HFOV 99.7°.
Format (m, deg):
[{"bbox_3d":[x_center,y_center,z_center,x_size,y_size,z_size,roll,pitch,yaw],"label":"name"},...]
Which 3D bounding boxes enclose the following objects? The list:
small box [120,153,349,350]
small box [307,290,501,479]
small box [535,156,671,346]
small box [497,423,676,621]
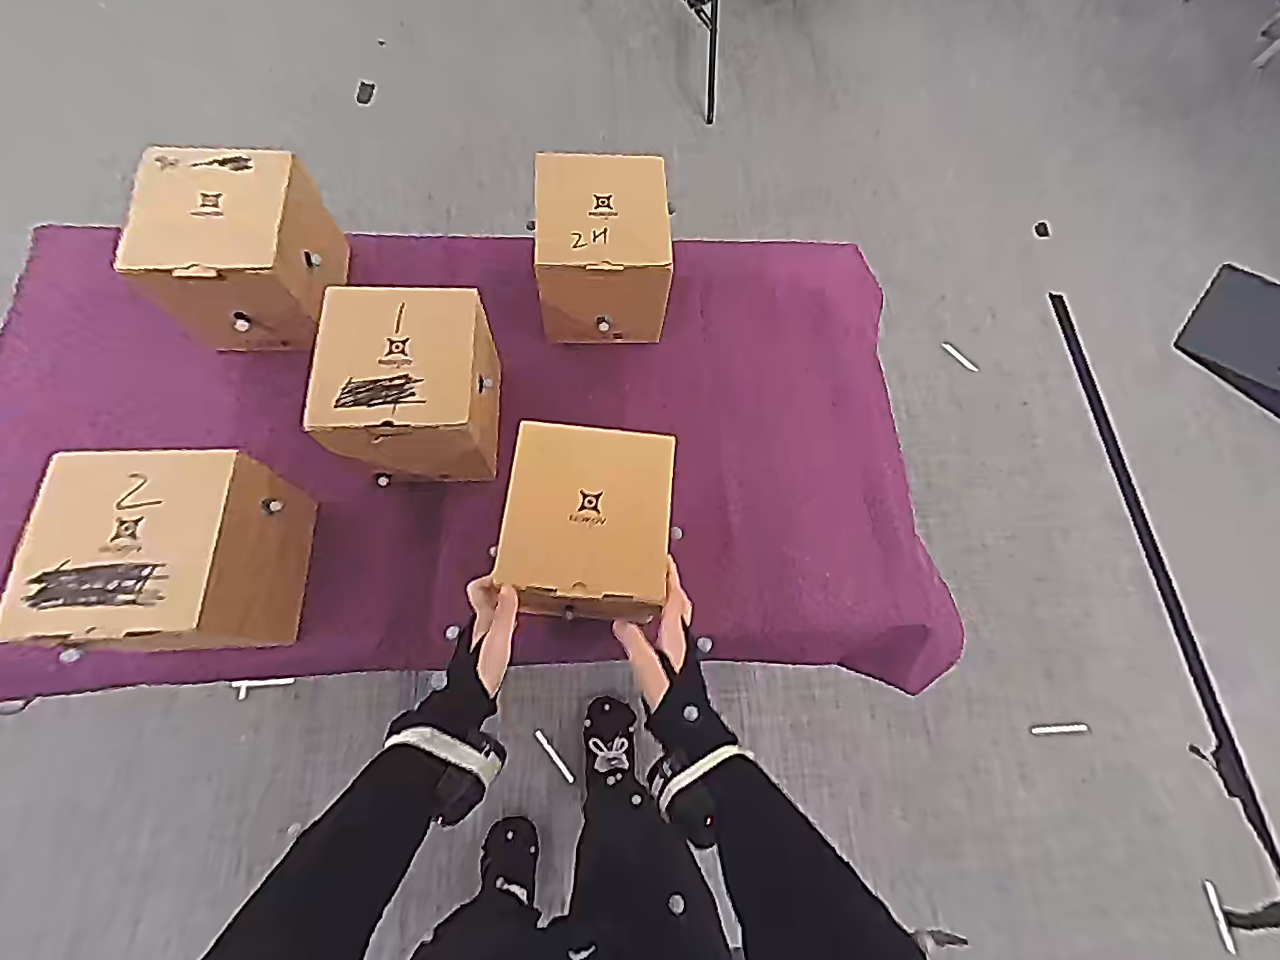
[{"bbox_3d":[-0.498,-0.281,0.695,0.168,0.176,0.179,-2,73,-6],"label":"small box"},{"bbox_3d":[-0.267,-0.105,0.656,0.168,0.176,0.179,-1,70,-5],"label":"small box"},{"bbox_3d":[-0.053,-0.306,0.743,0.168,0.176,0.179,-2,72,-5],"label":"small box"},{"bbox_3d":[-0.056,0.057,0.617,0.168,0.176,0.179,5,69,-3],"label":"small box"}]
